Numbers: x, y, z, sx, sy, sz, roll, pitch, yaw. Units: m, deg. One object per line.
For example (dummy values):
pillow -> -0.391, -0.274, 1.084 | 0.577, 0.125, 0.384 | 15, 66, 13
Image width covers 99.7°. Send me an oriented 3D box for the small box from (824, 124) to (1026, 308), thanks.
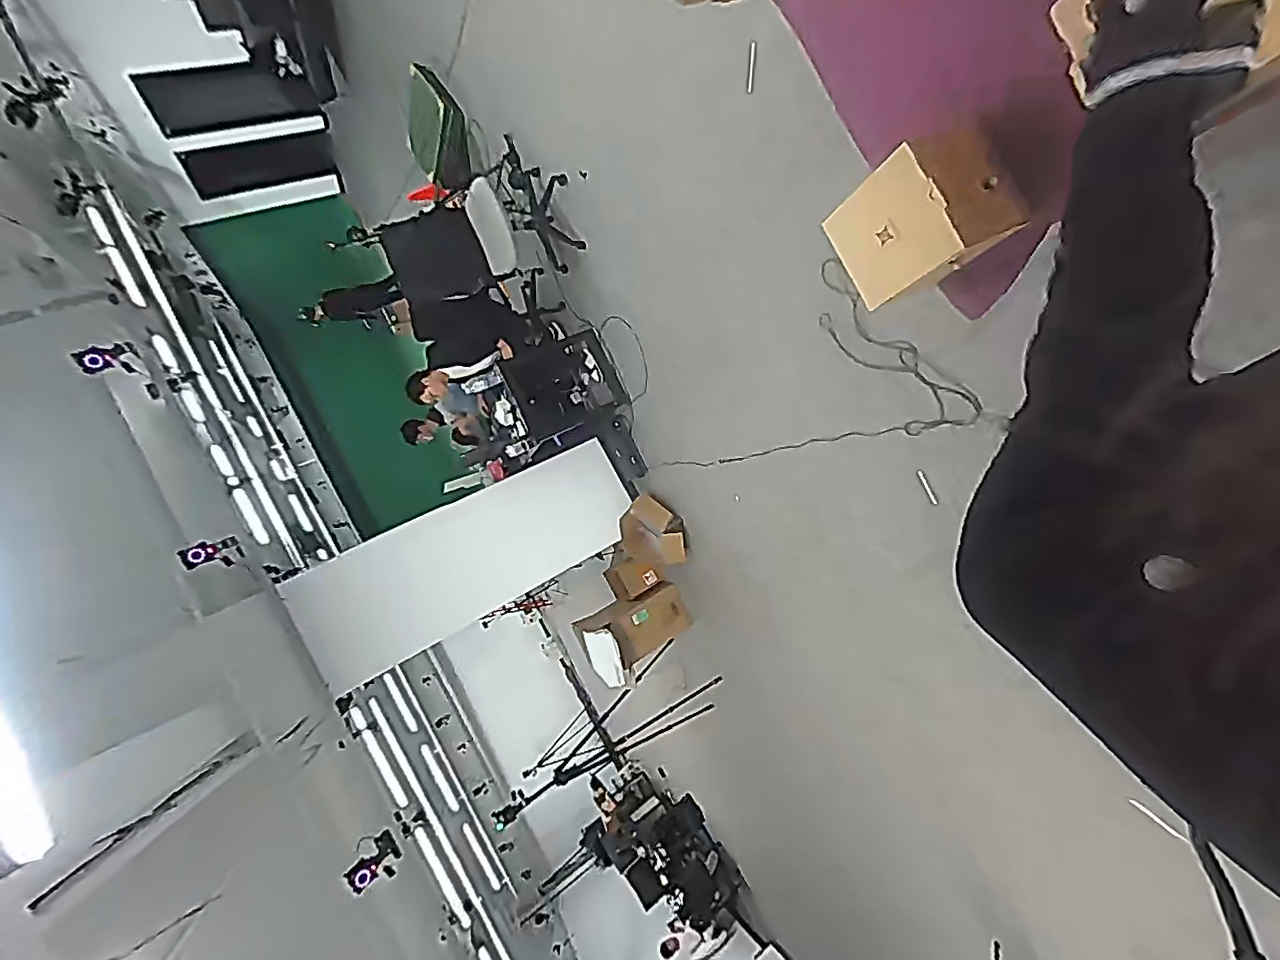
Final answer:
small box -> 0.425, -0.393, 0.816 | 0.168, 0.176, 0.179 | 62, 156, 2
